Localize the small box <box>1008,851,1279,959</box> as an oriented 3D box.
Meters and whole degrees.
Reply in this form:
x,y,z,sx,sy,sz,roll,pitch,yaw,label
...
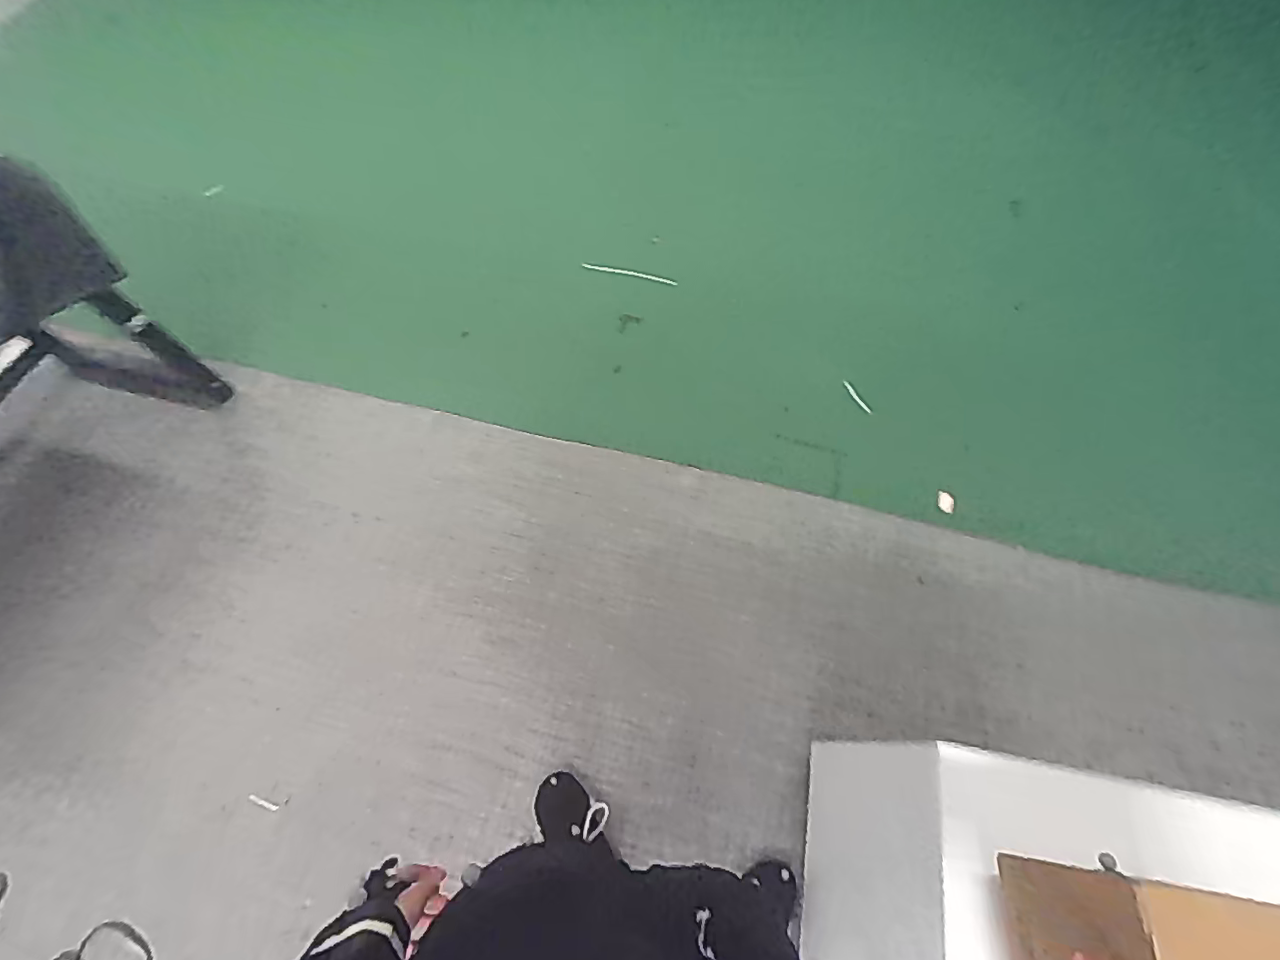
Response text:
x,y,z,sx,sy,sz,roll,pitch,yaw,label
0.442,0.421,0.445,0.179,0.176,0.168,9,62,-1,small box
